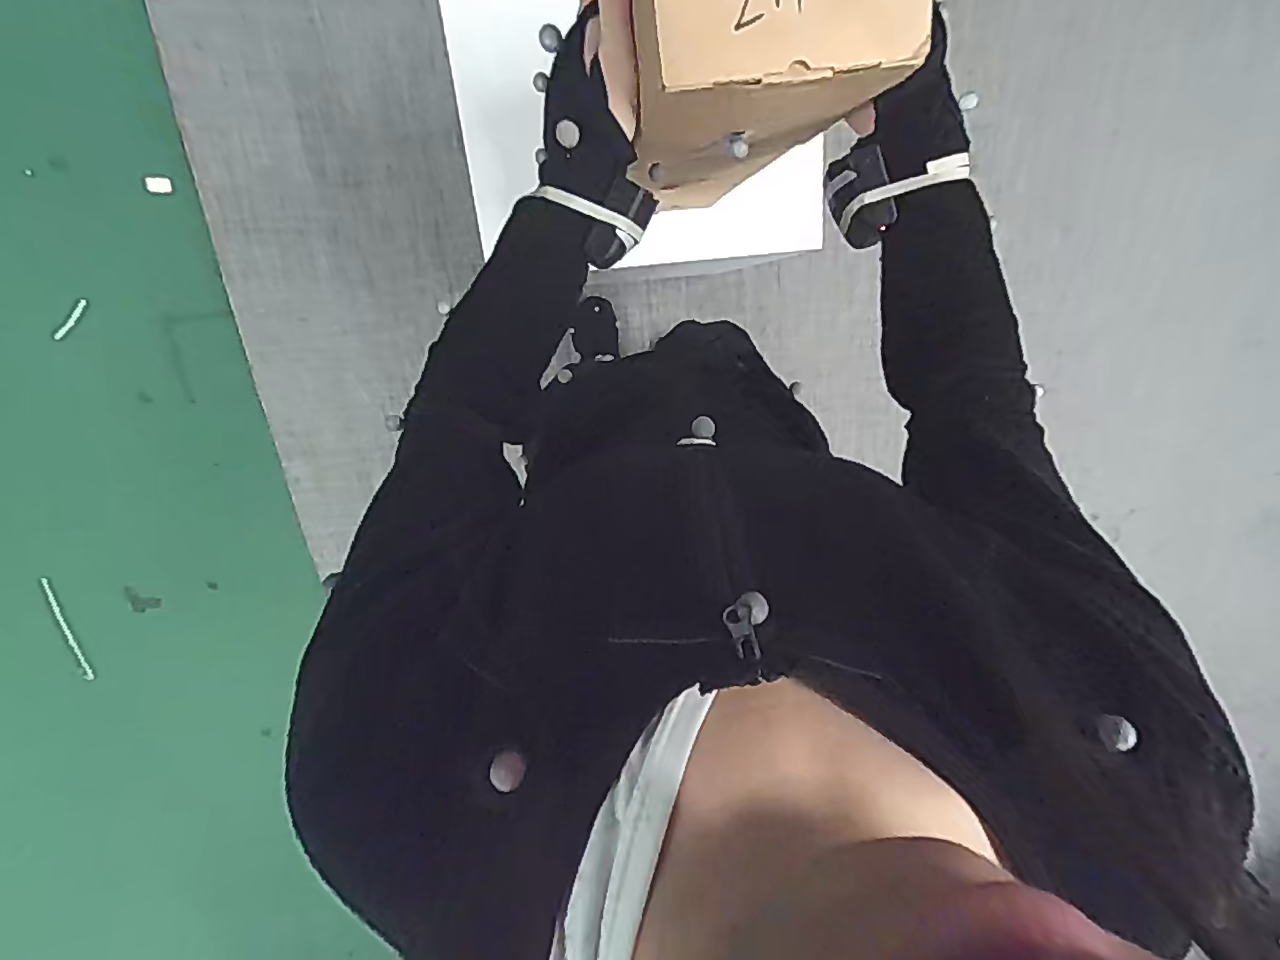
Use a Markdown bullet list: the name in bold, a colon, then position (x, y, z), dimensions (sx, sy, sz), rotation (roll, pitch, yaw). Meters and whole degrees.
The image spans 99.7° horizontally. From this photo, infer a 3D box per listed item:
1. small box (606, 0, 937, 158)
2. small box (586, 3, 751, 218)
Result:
- **small box**: position (0.067, -0.340, 0.354), dimensions (0.168, 0.176, 0.179), rotation (-10, 107, -6)
- **small box**: position (0.028, -0.440, 0.666), dimensions (0.168, 0.176, 0.179), rotation (-8, 107, -6)
